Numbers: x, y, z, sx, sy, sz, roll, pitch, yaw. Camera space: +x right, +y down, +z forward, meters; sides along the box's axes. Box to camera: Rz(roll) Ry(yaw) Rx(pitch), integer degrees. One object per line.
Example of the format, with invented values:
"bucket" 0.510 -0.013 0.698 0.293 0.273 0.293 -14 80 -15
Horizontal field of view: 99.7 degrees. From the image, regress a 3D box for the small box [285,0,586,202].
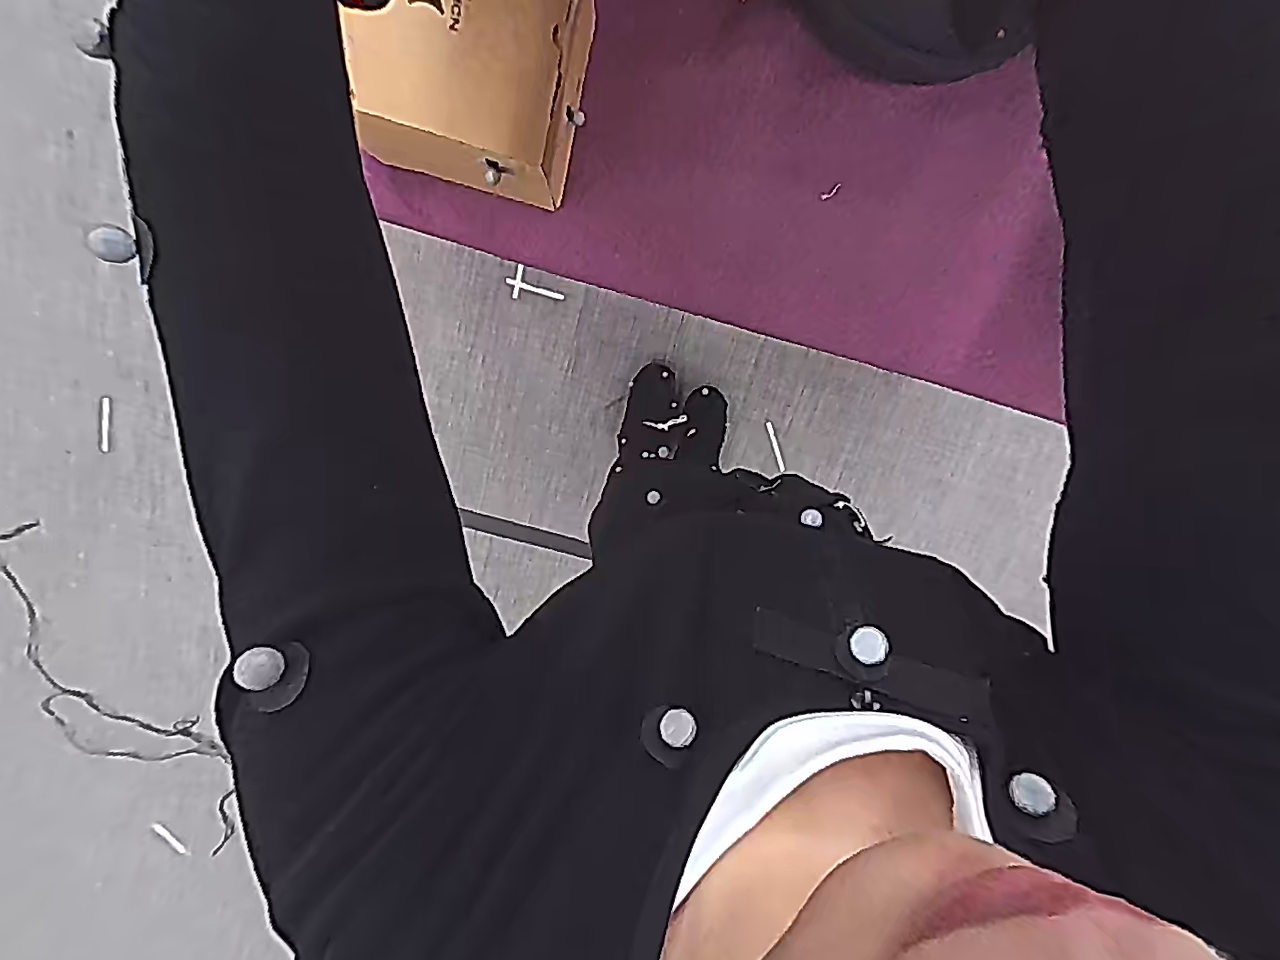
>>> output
"small box" -0.145 -0.343 0.433 0.179 0.176 0.168 11 106 -10
